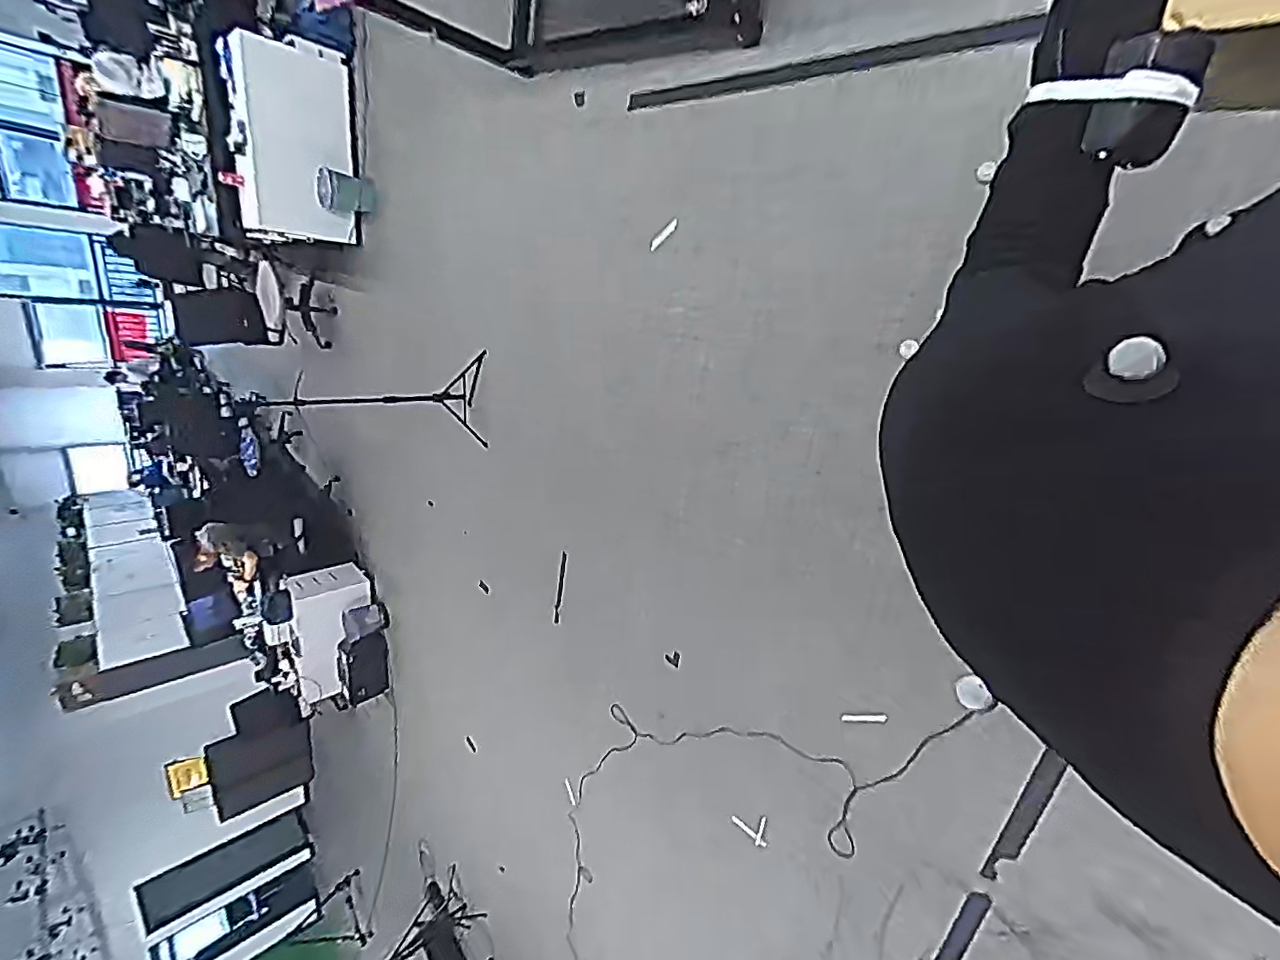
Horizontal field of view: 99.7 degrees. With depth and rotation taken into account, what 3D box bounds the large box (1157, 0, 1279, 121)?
[{"bbox_3d":[0.573,-0.396,0.261,0.408,0.320,0.320,22,122,35],"label":"large box"}]
